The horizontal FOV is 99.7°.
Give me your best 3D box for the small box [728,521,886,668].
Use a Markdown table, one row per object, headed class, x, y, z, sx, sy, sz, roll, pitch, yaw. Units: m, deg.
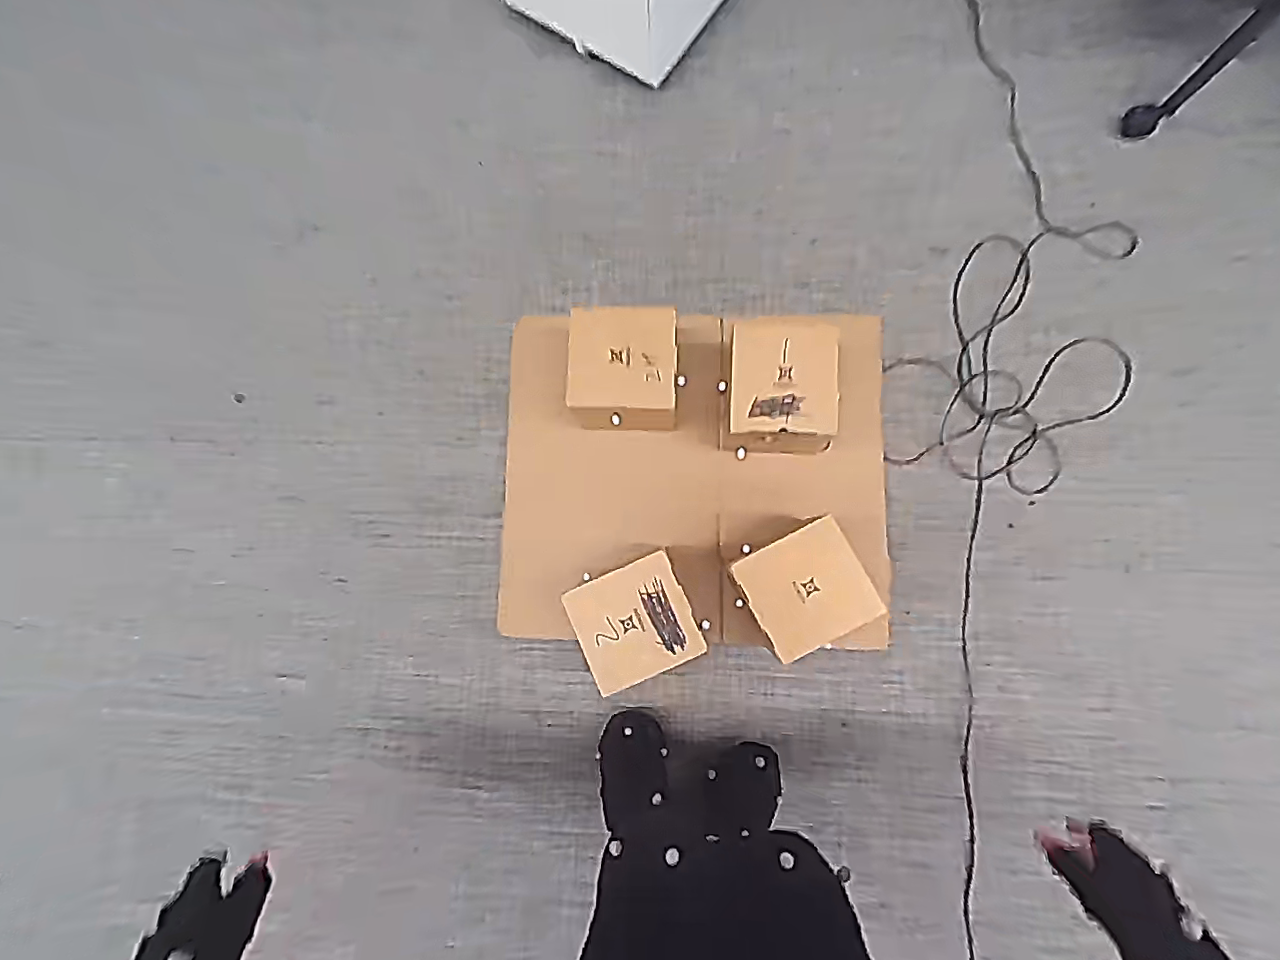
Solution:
| class | x | y | z | sx | sy | sz | roll | pitch | yaw |
| --- | --- | --- | --- | --- | --- | --- | --- | --- | --- |
| small box | 0.261 | 0.180 | 0.892 | 0.179 | 0.176 | 0.168 | -29 | 80 | 2 |
